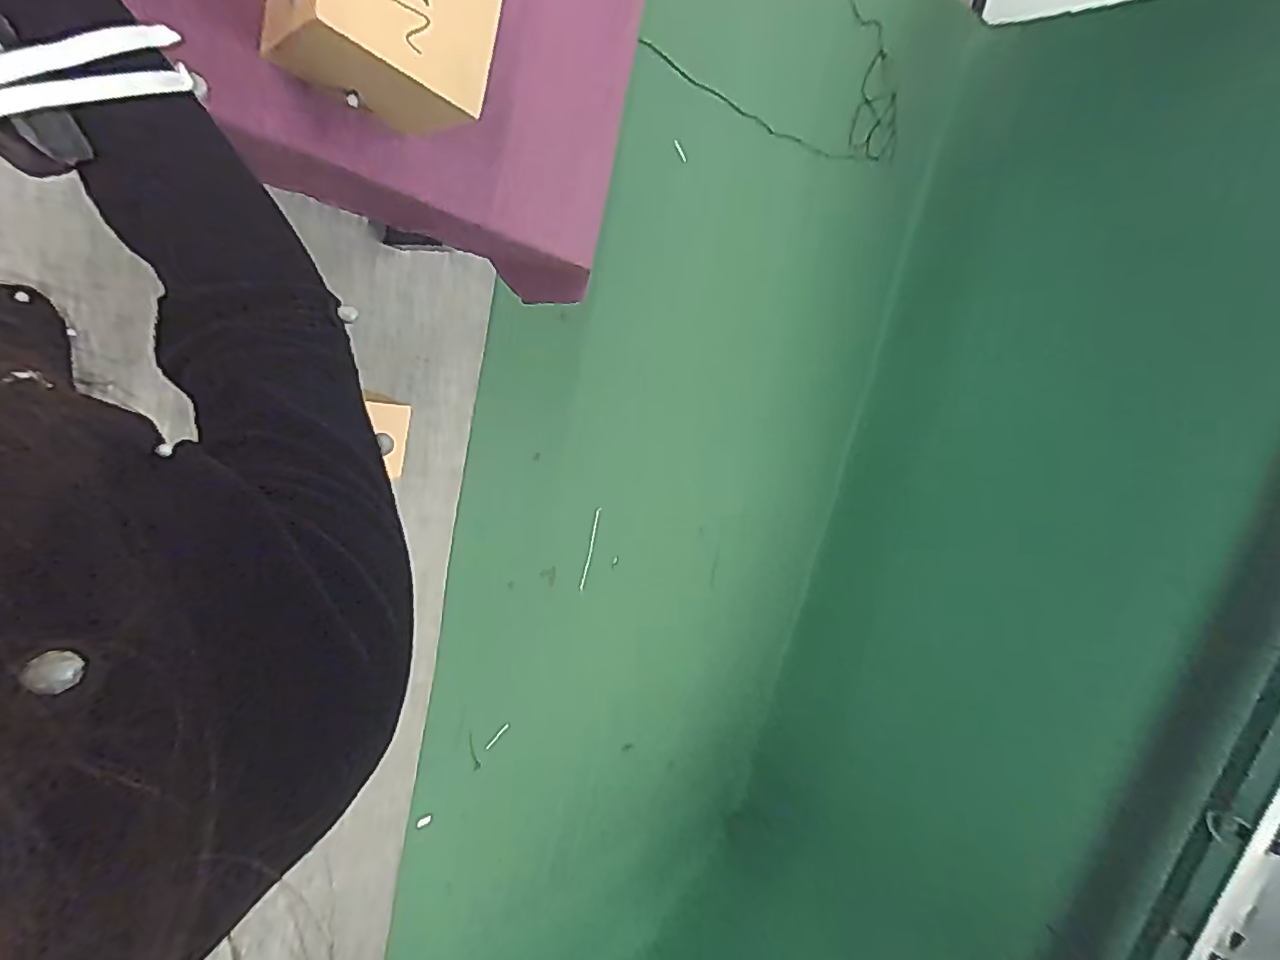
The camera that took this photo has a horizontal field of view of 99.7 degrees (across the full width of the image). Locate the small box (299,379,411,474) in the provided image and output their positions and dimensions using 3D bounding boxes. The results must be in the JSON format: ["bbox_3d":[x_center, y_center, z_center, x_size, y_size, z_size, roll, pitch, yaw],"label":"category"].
[{"bbox_3d":[-0.649,-0.120,1.224,0.168,0.176,0.179,0,107,-51],"label":"small box"}]
